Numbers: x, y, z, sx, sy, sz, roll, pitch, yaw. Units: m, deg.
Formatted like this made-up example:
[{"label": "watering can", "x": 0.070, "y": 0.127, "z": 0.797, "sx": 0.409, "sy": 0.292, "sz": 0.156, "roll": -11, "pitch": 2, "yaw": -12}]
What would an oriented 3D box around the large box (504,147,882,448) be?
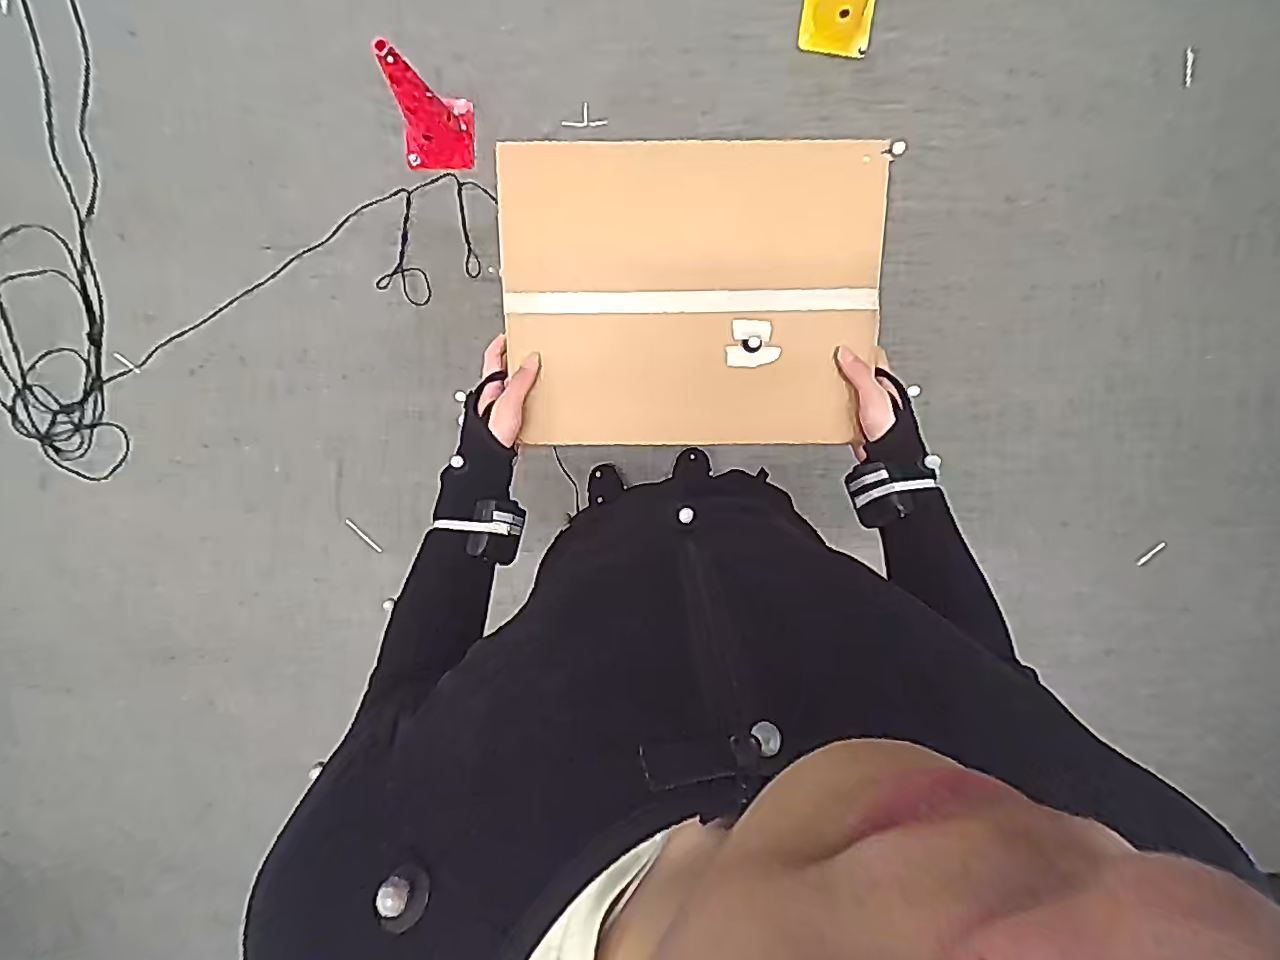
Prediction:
[{"label": "large box", "x": 0.056, "y": -0.222, "z": 0.738, "sx": 0.408, "sy": 0.320, "sz": 0.320, "roll": -1, "pitch": 103, "yaw": -1}]
